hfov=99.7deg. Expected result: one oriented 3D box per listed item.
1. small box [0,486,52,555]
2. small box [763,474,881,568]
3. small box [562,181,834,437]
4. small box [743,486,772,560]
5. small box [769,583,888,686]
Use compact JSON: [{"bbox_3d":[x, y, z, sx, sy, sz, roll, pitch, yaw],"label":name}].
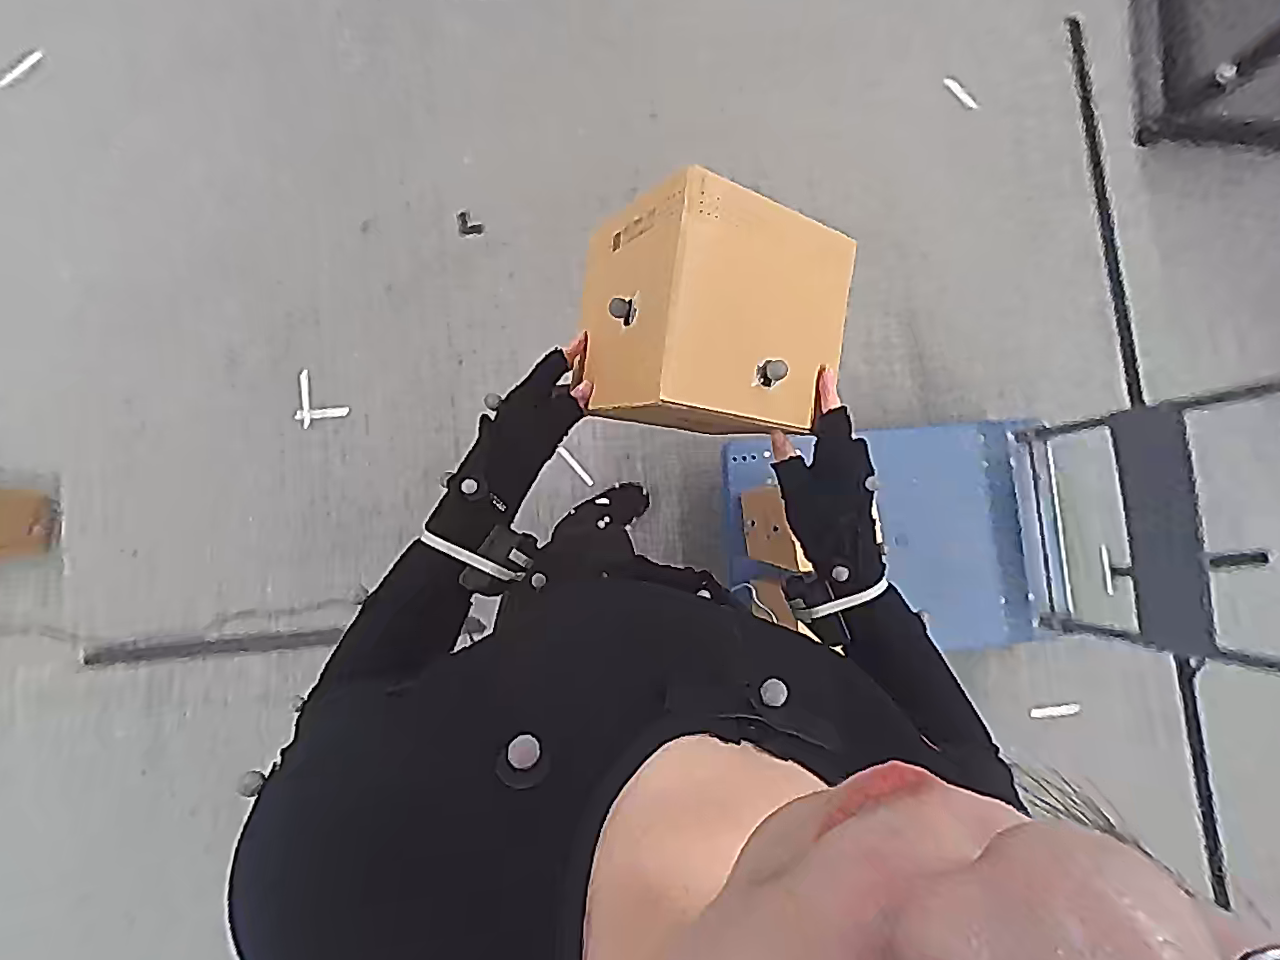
[{"bbox_3d":[-1.601,0.102,1.308,0.179,0.176,0.168,-4,87,-5],"label":"small box"},{"bbox_3d":[0.362,0.083,1.109,0.179,0.176,0.168,-7,87,-5],"label":"small box"},{"bbox_3d":[0.047,-0.133,0.480,0.179,0.168,0.176,4,91,-30],"label":"small box"},{"bbox_3d":[0.350,0.096,1.273,0.179,0.176,0.168,-5,87,-6],"label":"small box"},{"bbox_3d":[0.373,0.304,1.094,0.179,0.176,0.168,-2,87,-5],"label":"small box"}]
